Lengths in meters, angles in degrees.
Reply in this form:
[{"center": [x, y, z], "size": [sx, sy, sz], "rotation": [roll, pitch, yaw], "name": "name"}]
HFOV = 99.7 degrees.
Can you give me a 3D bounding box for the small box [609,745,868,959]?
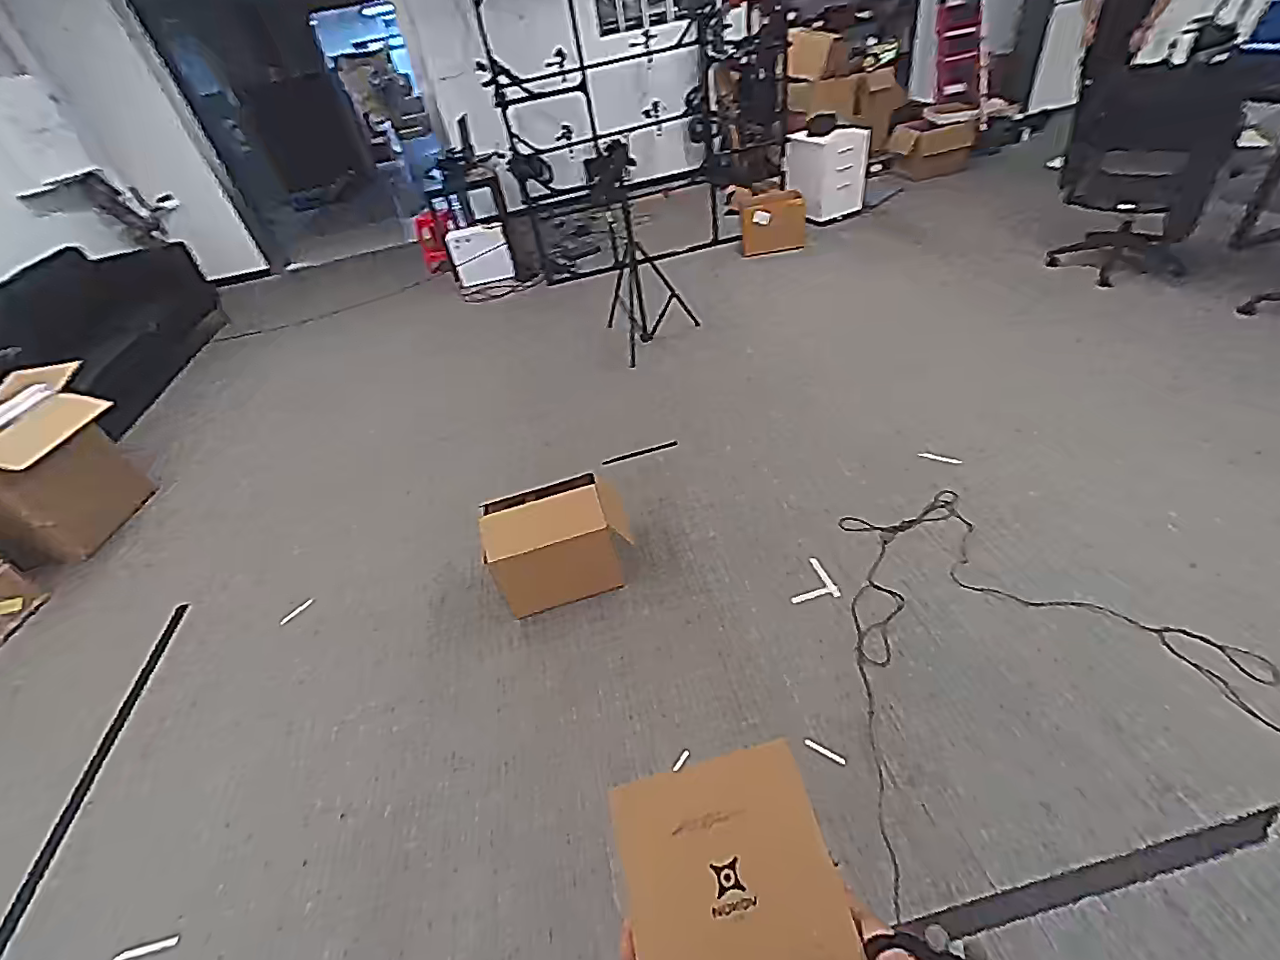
[{"center": [0.080, 0.361, 0.478], "size": [0.168, 0.176, 0.179], "rotation": [-14, 53, -3], "name": "small box"}]
